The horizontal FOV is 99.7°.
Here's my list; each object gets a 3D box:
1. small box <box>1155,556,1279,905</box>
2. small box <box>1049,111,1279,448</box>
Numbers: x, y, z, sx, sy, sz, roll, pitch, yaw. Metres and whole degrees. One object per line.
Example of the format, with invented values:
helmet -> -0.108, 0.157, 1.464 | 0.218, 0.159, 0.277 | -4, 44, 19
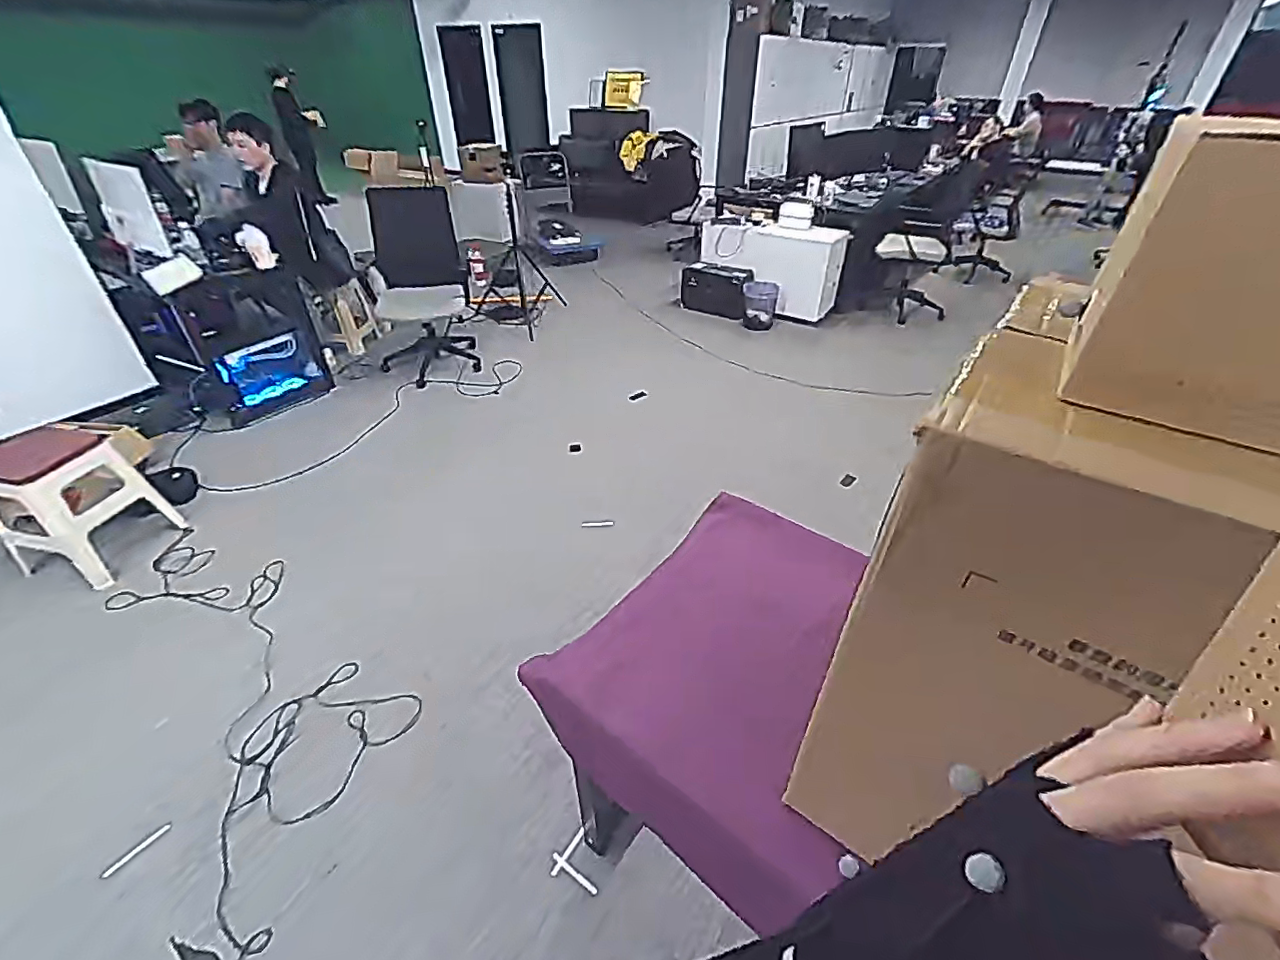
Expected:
small box -> 0.282, 0.079, 0.115 | 0.168, 0.179, 0.176 | 12, 21, 7
small box -> 0.415, -0.135, 0.358 | 0.179, 0.176, 0.168 | 23, 42, 27
